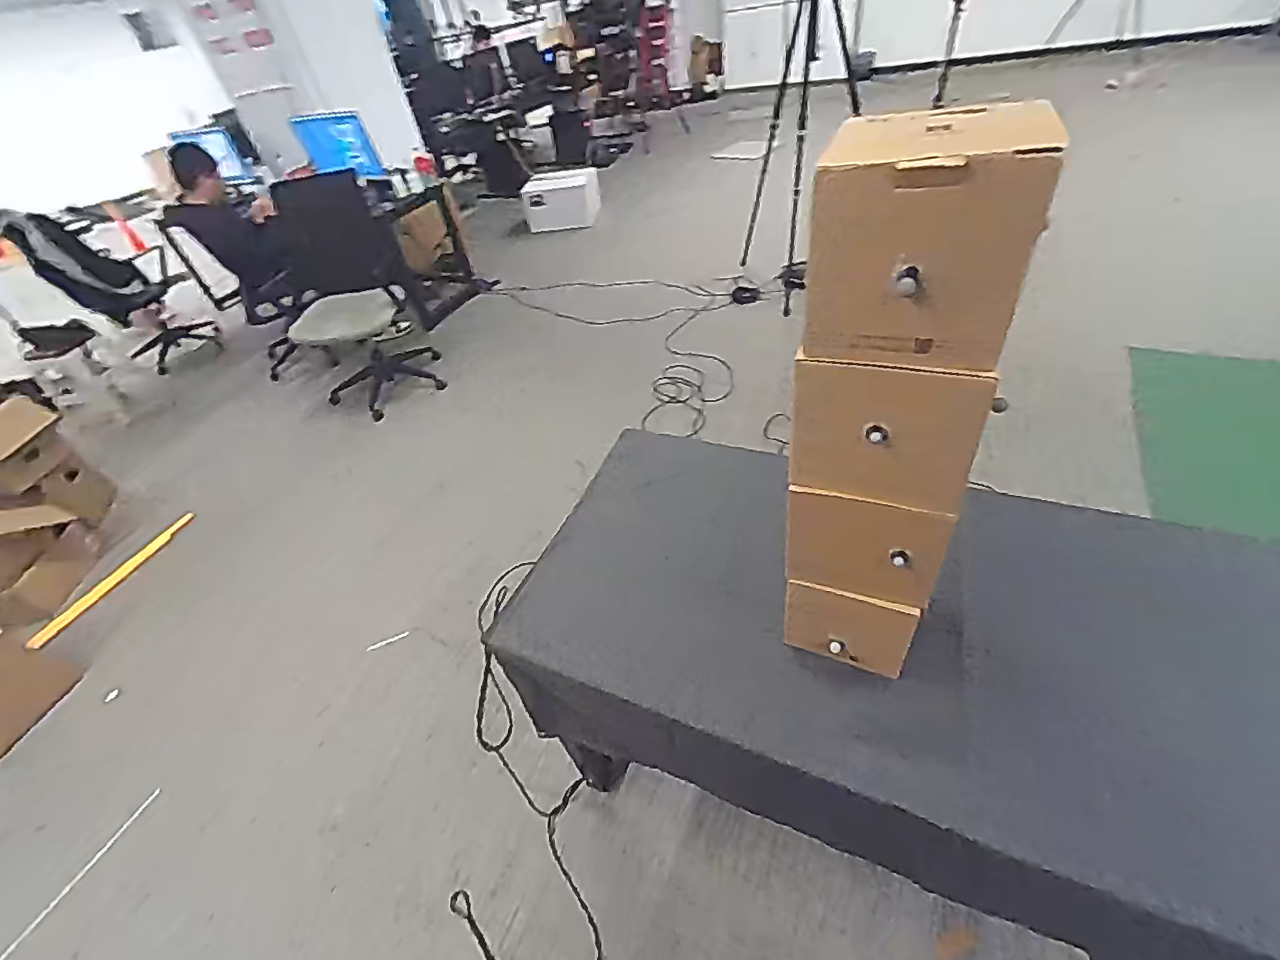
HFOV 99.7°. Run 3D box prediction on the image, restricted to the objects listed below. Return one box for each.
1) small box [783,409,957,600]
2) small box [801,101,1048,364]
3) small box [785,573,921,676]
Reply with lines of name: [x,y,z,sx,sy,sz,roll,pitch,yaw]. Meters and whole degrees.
small box: [0.291,0.032,0.700,0.179,0.176,0.168,10,45,23]
small box: [0.250,-0.224,0.500,0.168,0.176,0.179,11,46,24]
small box: [0.317,0.154,0.804,0.168,0.176,0.179,12,47,25]
